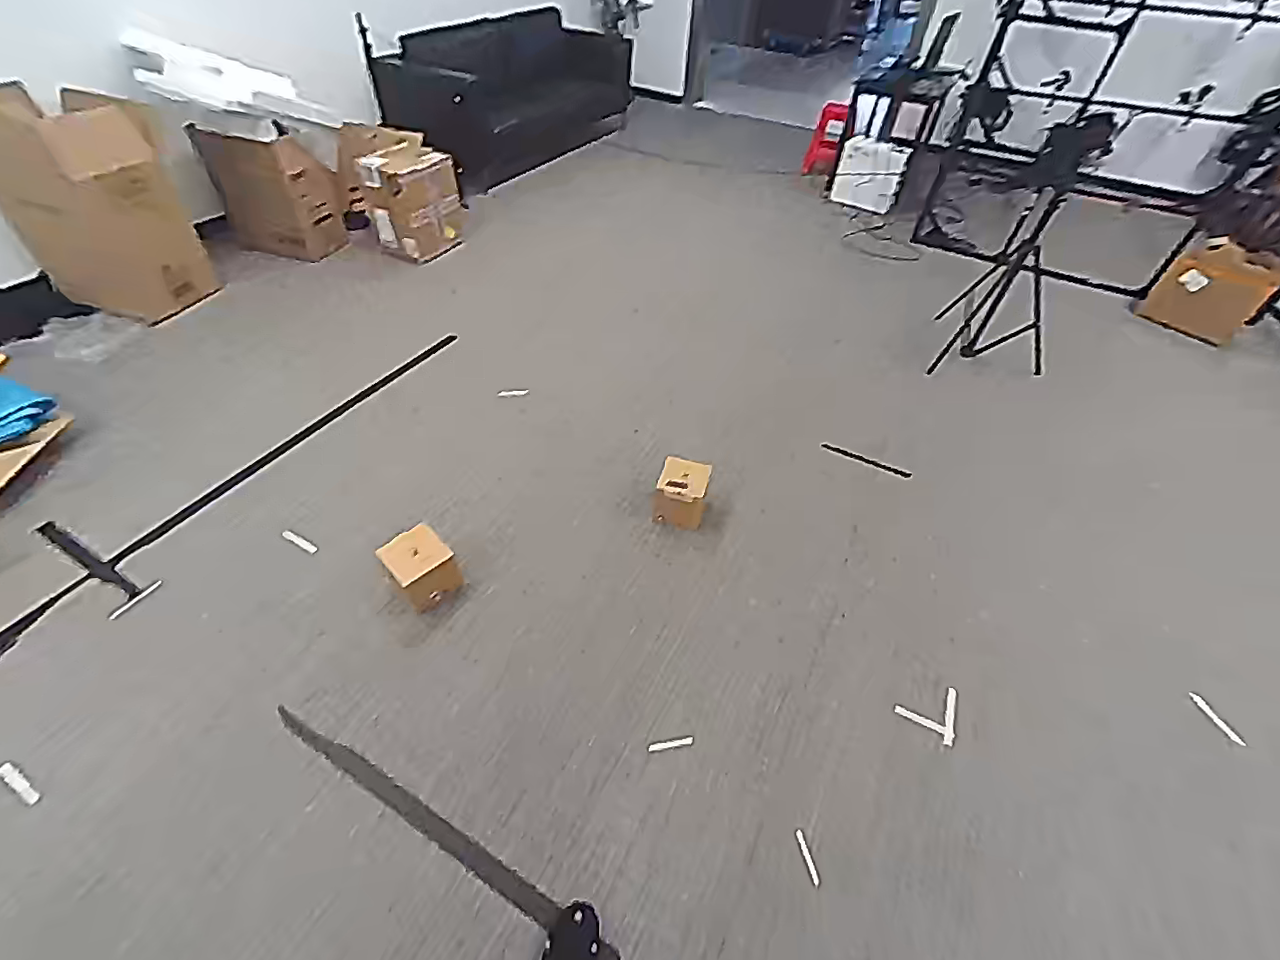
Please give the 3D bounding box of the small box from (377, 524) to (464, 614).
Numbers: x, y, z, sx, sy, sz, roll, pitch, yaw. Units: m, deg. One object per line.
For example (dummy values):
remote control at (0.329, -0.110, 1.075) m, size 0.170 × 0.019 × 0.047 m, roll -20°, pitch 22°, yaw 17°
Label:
small box at (-0.668, 0.277, 1.658) m, size 0.179 × 0.176 × 0.168 m, roll 37°, pitch 55°, yaw 26°

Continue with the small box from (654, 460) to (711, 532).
small box at (0.150, 0.059, 1.937) m, size 0.168 × 0.176 × 0.179 m, roll 14°, pitch 46°, yaw 9°
